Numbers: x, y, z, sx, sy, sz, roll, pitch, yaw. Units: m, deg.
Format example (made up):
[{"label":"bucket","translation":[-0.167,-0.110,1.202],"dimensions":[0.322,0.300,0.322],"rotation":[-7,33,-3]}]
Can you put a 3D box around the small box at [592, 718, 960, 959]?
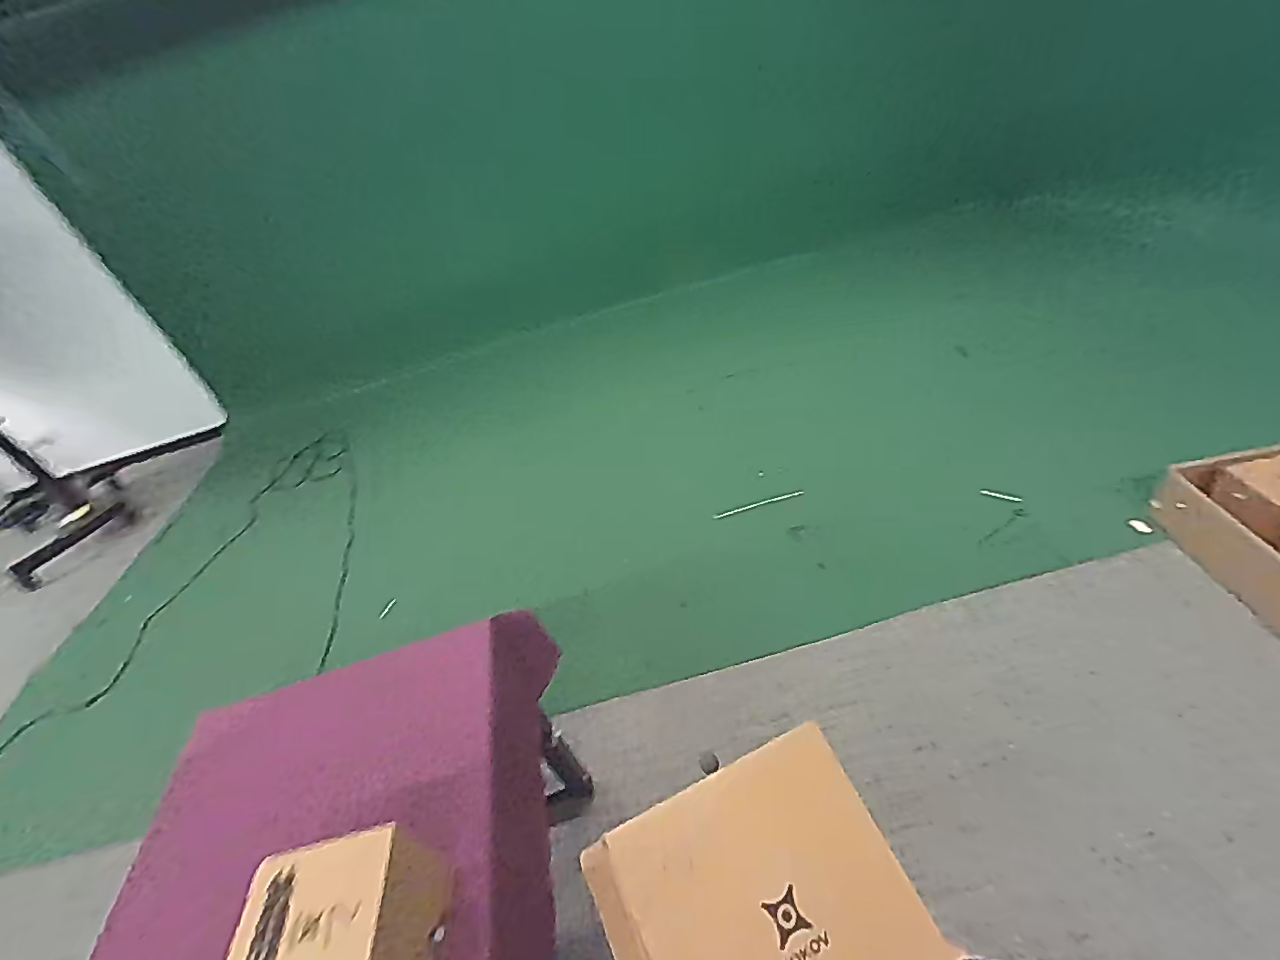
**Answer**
[{"label":"small box","translation":[0.075,0.301,0.378],"dimensions":[0.168,0.176,0.179],"rotation":[-16,59,-22]}]
